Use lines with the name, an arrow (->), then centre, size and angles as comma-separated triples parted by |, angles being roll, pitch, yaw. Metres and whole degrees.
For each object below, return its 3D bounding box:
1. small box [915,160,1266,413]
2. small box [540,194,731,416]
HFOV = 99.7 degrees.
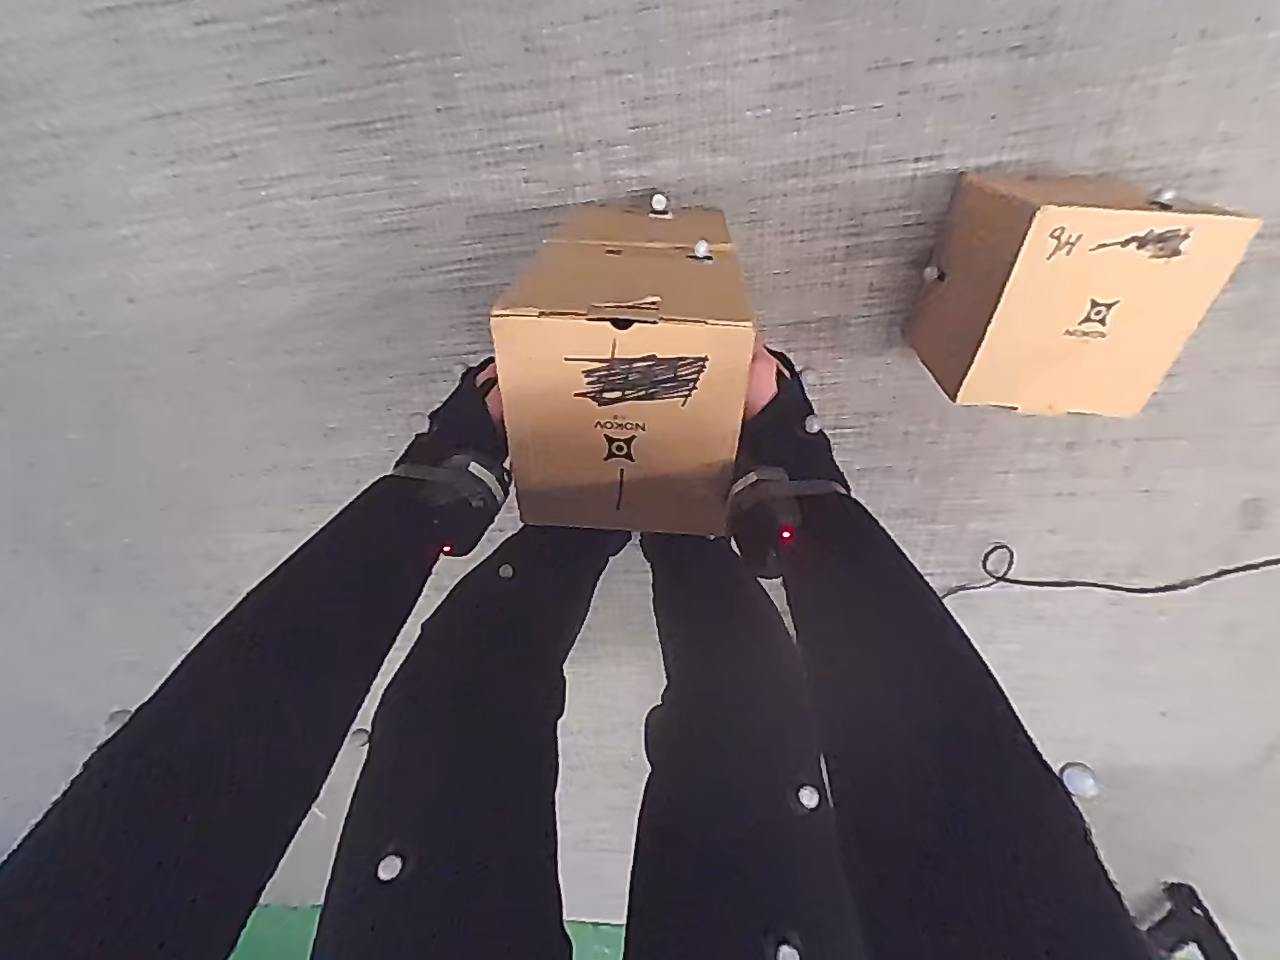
small box -> 0.388, -0.188, 0.517 | 0.168, 0.176, 0.179 | 6, 129, 3
small box -> 0.002, -0.186, 0.566 | 0.168, 0.176, 0.179 | 2, 126, 3
